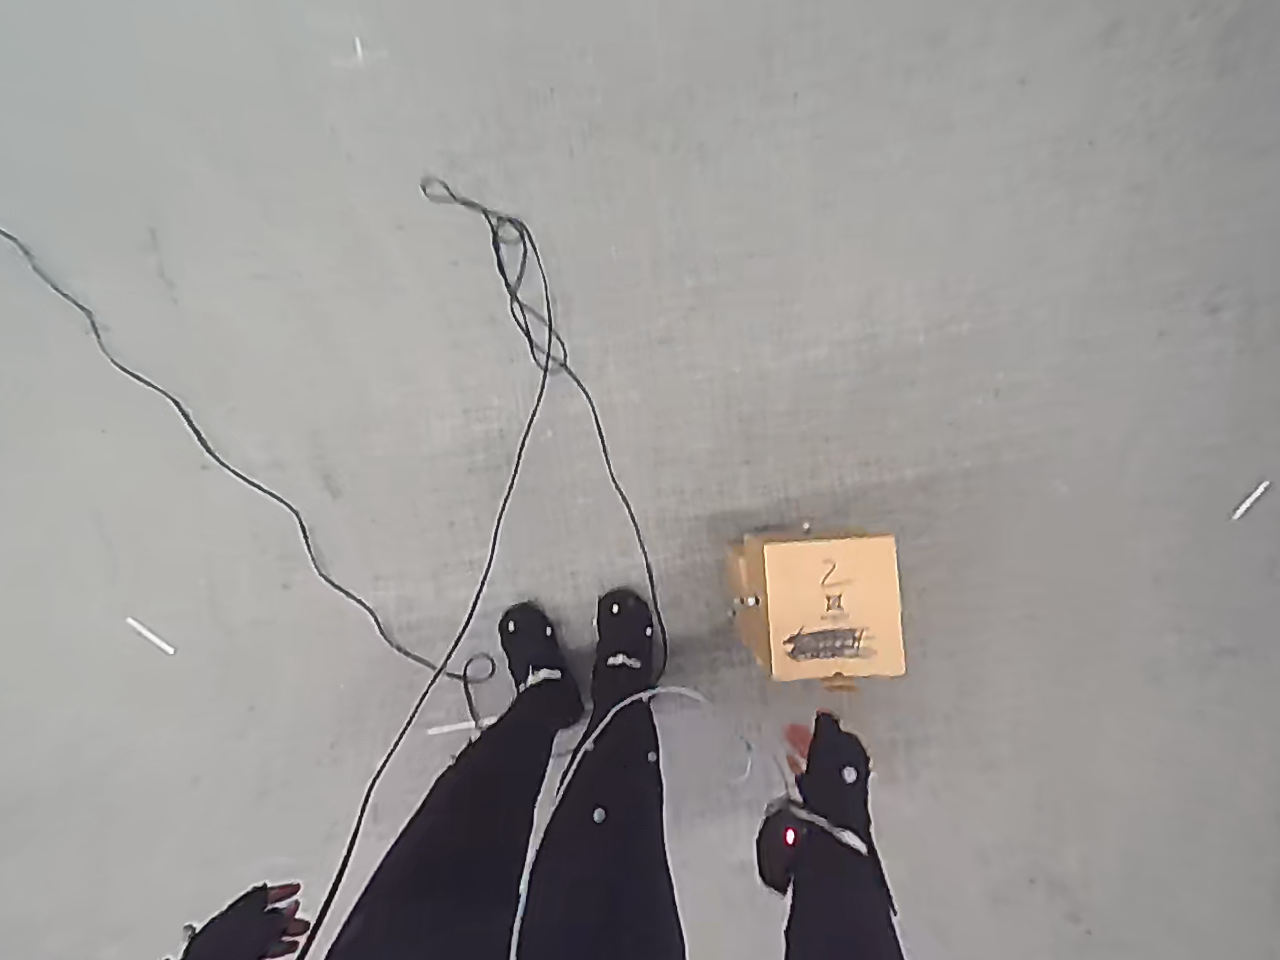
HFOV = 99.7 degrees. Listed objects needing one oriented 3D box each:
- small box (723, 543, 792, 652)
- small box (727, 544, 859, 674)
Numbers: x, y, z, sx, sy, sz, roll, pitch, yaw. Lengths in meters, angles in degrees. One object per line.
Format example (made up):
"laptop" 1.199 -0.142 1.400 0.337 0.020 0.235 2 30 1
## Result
"small box" 0.264 0.229 1.087 0.168 0.176 0.179 -7 89 2
"small box" 0.249 0.208 0.924 0.168 0.176 0.179 -10 89 3
